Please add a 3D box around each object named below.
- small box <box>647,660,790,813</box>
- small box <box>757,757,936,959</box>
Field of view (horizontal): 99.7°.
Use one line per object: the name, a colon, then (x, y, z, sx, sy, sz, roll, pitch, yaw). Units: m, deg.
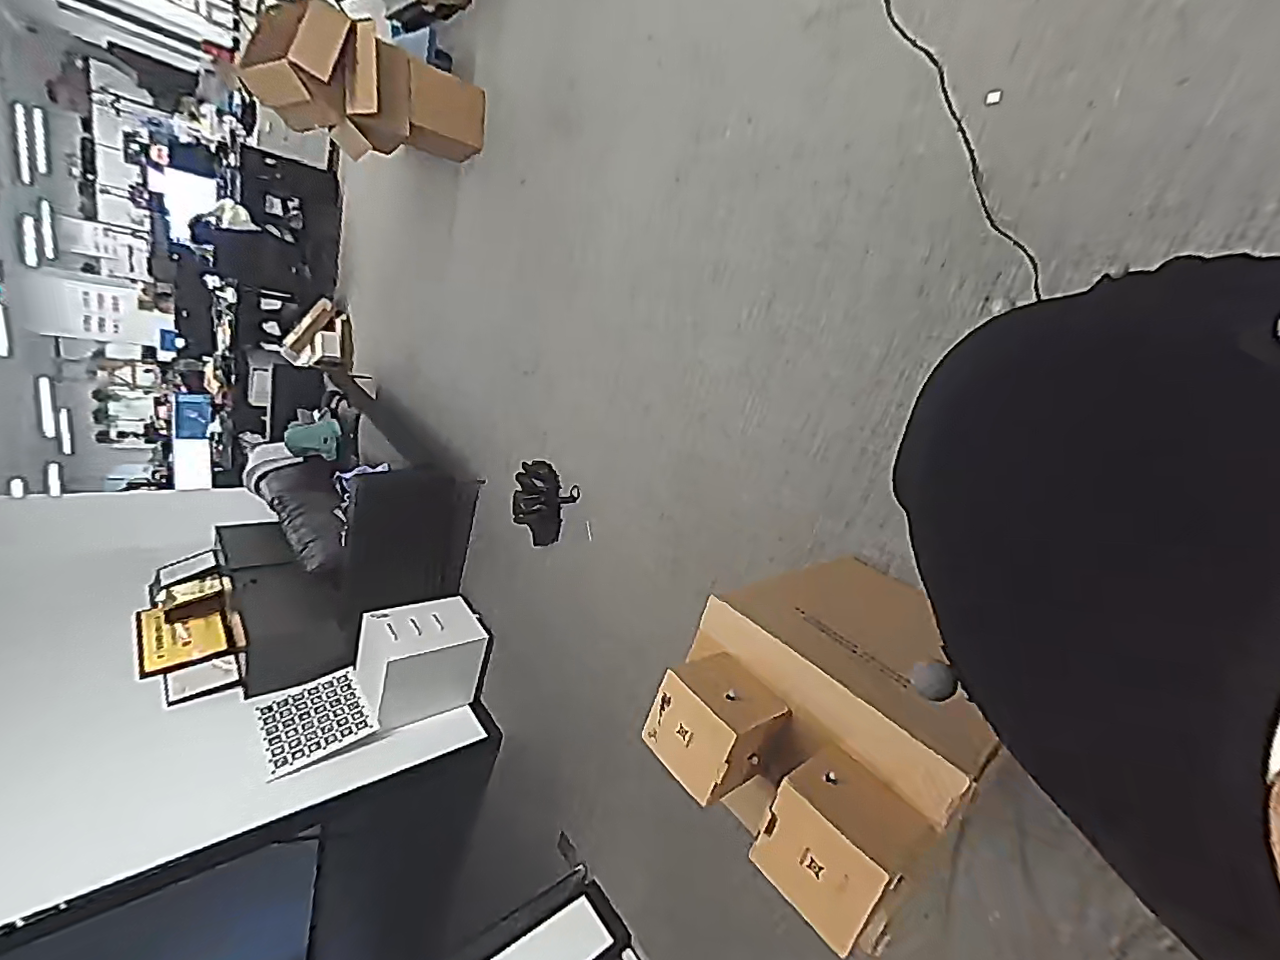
small box: (0.149, 0.461, 1.008, 0.179, 0.176, 0.168, 32, 110, 40)
small box: (0.318, 0.564, 0.836, 0.179, 0.176, 0.168, 29, 110, 40)
